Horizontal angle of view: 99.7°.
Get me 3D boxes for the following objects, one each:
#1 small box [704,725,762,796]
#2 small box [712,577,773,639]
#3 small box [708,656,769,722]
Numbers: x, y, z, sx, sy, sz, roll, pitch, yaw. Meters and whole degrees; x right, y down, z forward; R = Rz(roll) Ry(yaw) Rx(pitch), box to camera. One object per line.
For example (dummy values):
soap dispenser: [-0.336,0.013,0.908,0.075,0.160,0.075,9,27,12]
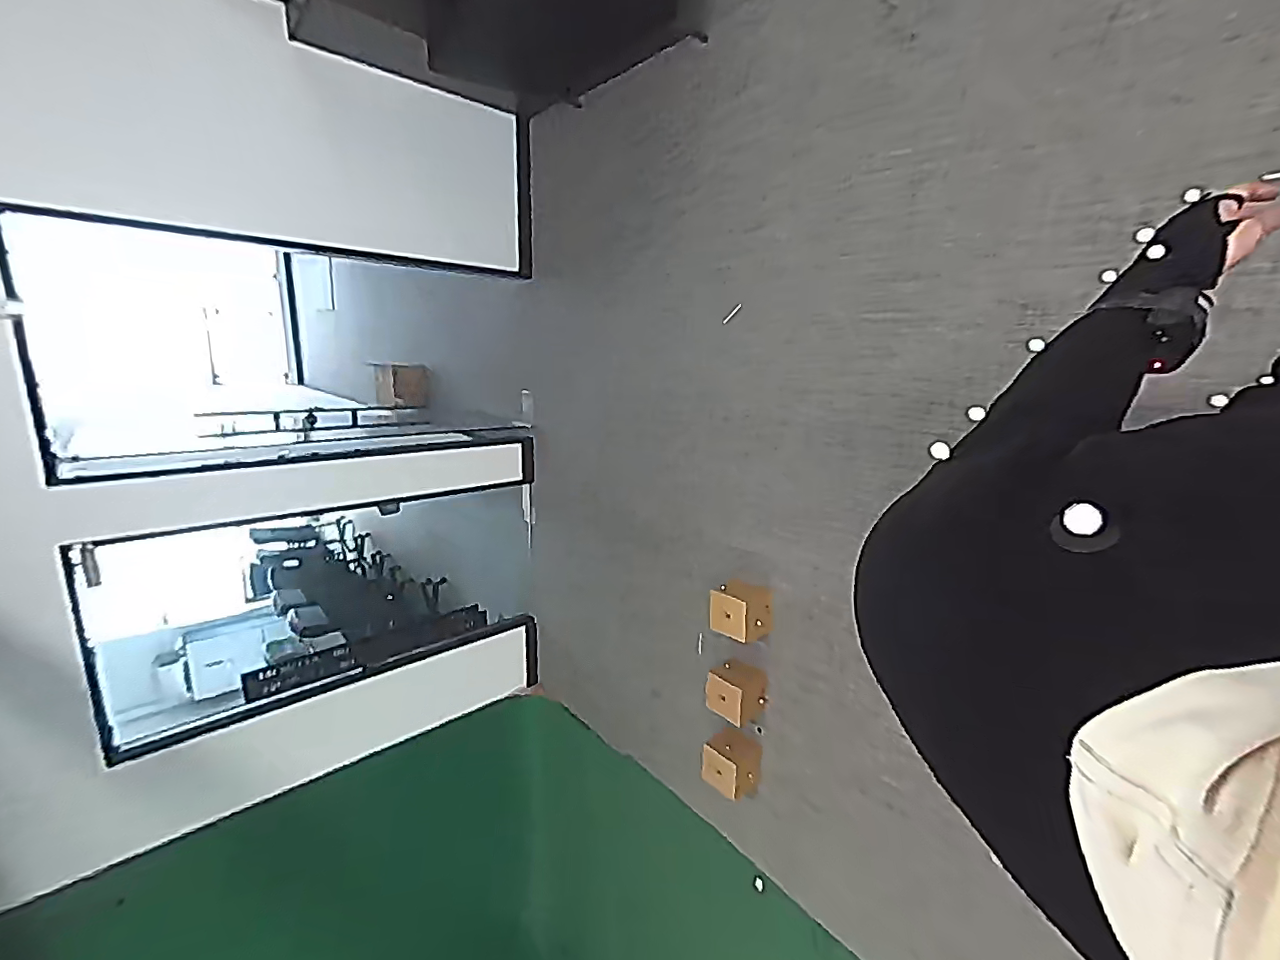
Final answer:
small box: [0.389,1.154,2.244,0.179,0.176,0.168,15,108,48]
small box: [0.402,0.491,2.102,0.179,0.176,0.168,11,106,49]
small box: [0.395,0.832,2.176,0.179,0.176,0.168,15,109,47]
